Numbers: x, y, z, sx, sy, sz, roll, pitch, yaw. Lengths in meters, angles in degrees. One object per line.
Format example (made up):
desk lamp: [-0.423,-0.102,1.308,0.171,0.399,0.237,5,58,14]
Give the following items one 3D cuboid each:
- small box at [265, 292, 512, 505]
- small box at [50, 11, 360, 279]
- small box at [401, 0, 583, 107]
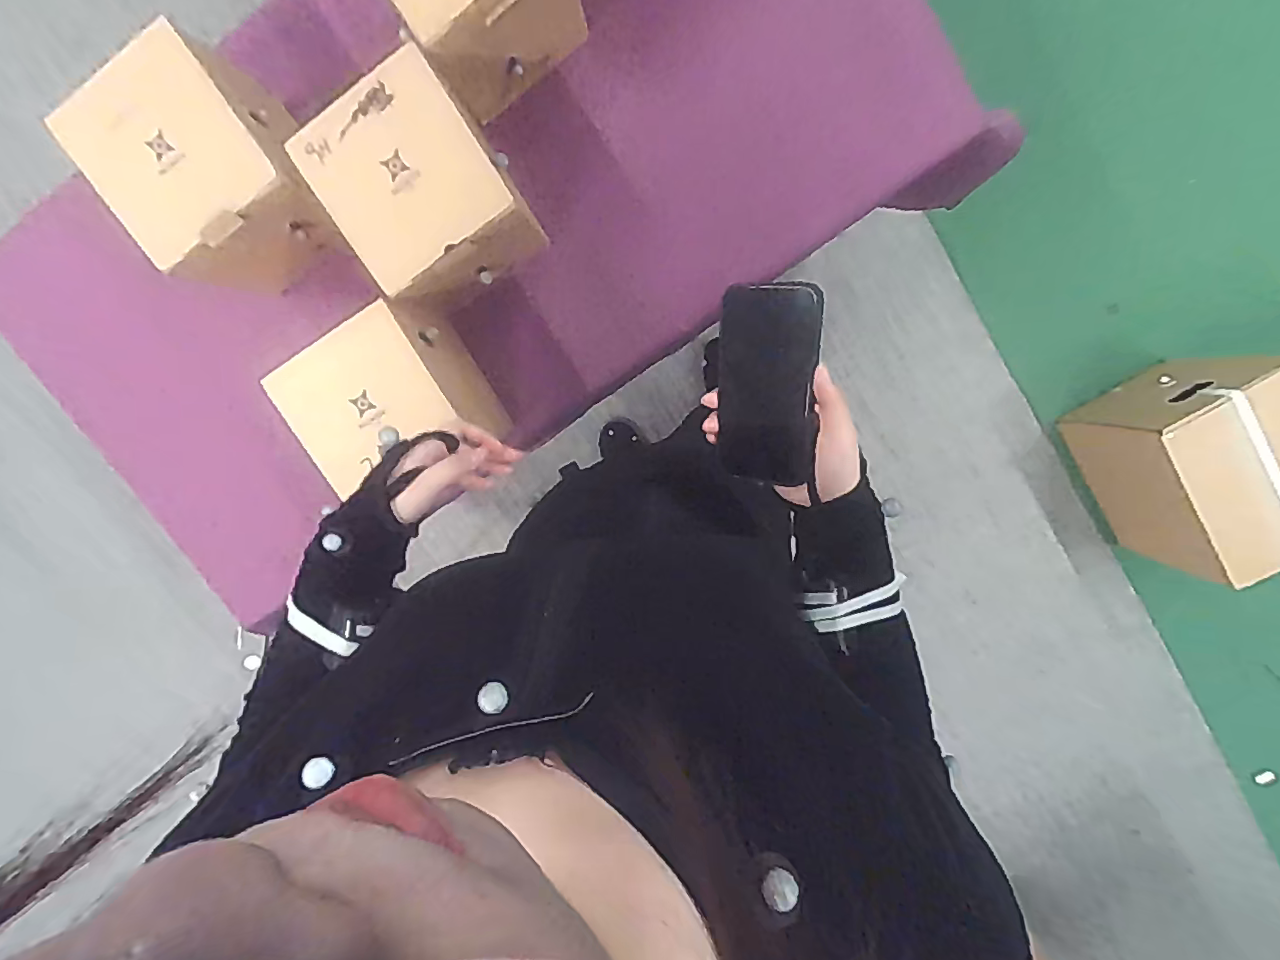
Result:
small box: [-0.284,-0.097,0.653,0.168,0.176,0.179,-29,99,9]
small box: [-0.464,-0.349,0.612,0.168,0.176,0.179,-32,98,7]
small box: [-0.179,-0.544,0.559,0.168,0.176,0.179,-34,99,9]
